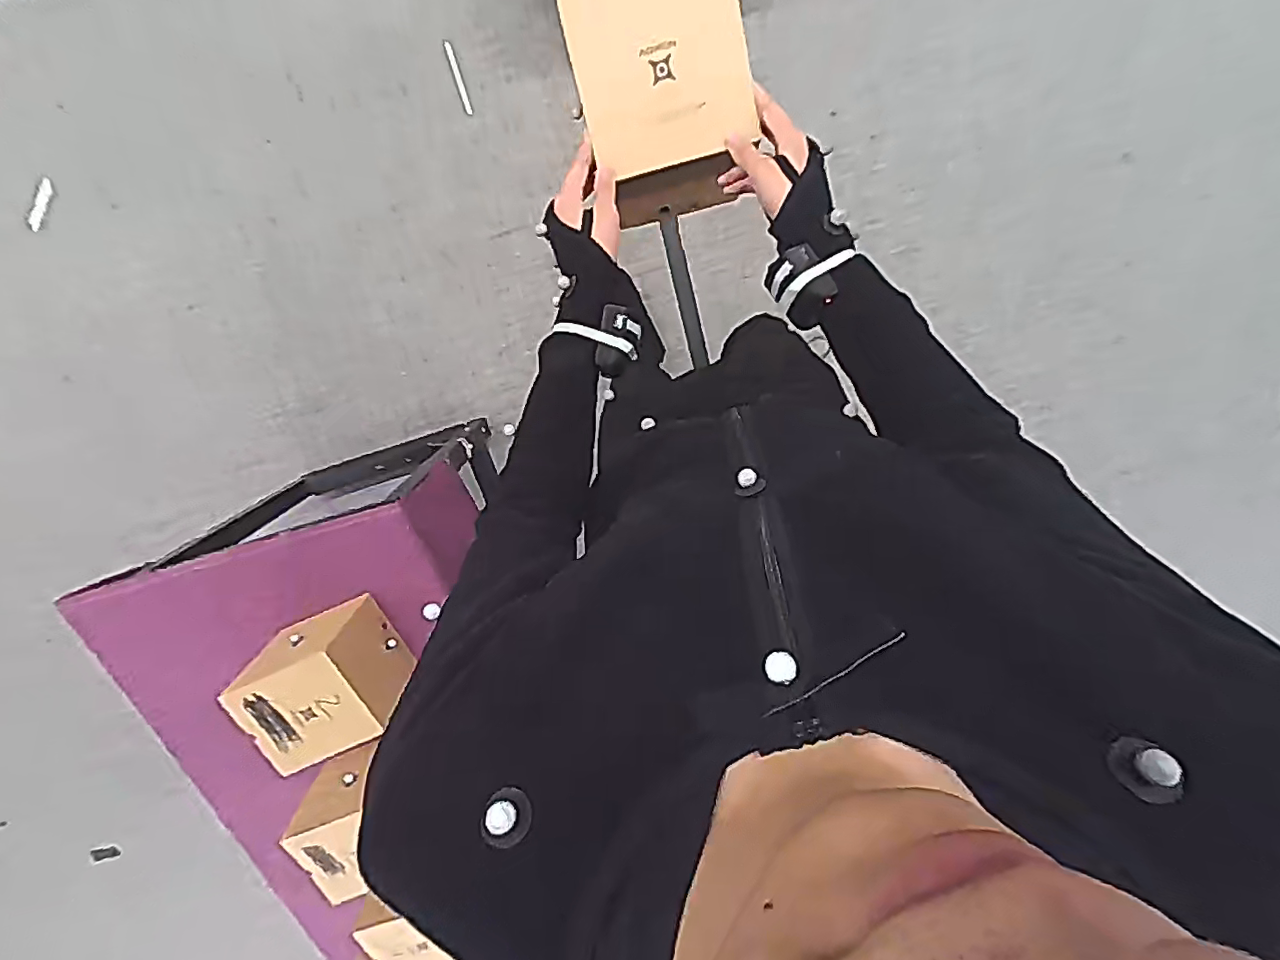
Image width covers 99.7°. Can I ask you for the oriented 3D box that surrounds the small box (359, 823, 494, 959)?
[{"bbox_3d":[-0.398,0.811,1.052,0.179,0.176,0.168,-18,108,2],"label":"small box"}]

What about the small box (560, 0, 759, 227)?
[{"bbox_3d":[0.021,-0.413,0.602,0.168,0.176,0.179,-13,98,4],"label":"small box"}]

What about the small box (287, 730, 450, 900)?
[{"bbox_3d":[-0.474,0.594,0.976,0.179,0.176,0.168,-22,109,2],"label":"small box"}]
